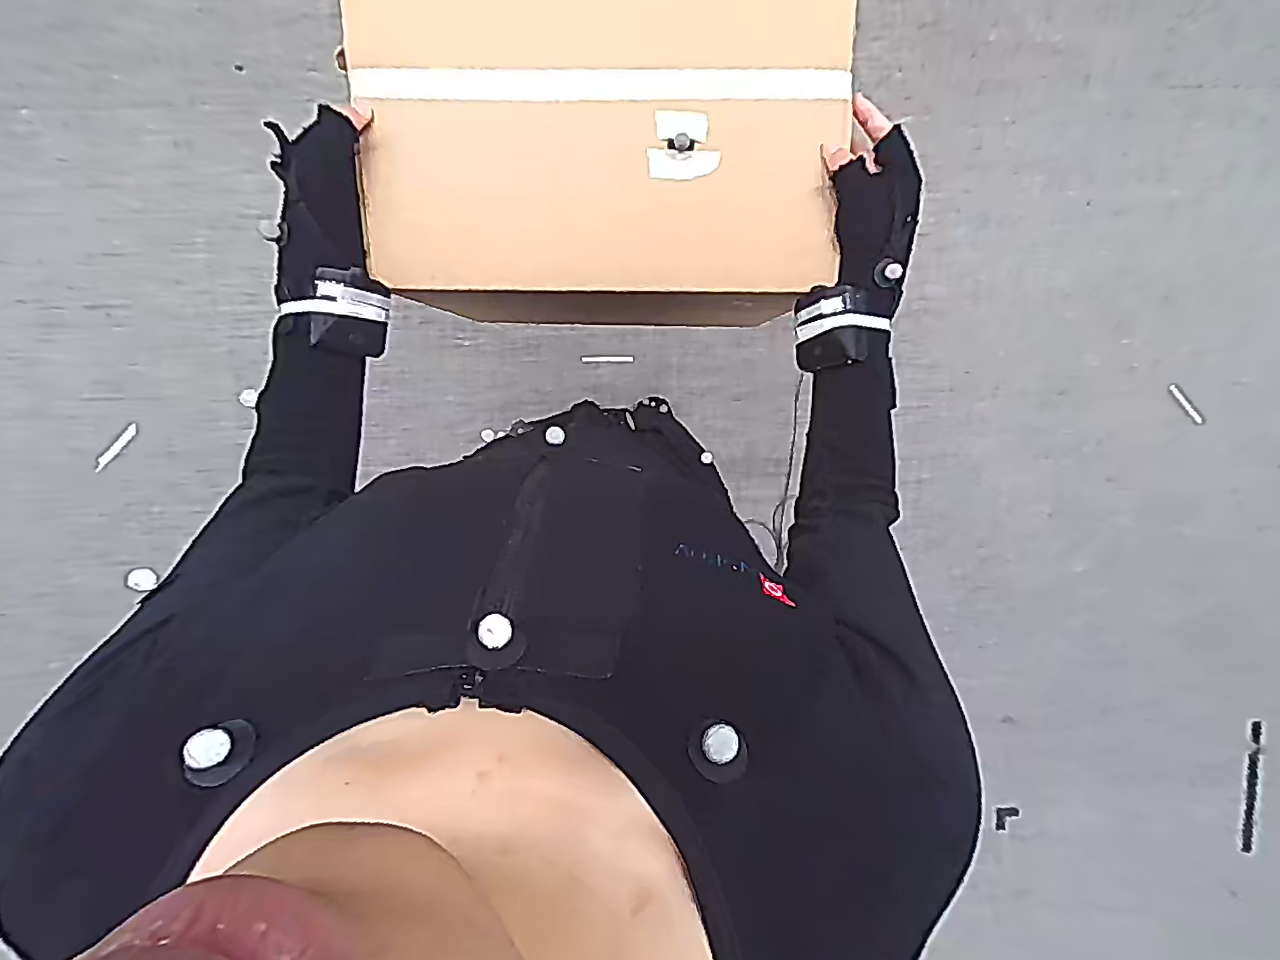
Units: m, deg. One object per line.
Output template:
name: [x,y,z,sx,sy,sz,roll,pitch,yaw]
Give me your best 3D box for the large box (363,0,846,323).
large box: [-0.031,-0.353,0.602,0.408,0.320,0.320,0,101,0]
